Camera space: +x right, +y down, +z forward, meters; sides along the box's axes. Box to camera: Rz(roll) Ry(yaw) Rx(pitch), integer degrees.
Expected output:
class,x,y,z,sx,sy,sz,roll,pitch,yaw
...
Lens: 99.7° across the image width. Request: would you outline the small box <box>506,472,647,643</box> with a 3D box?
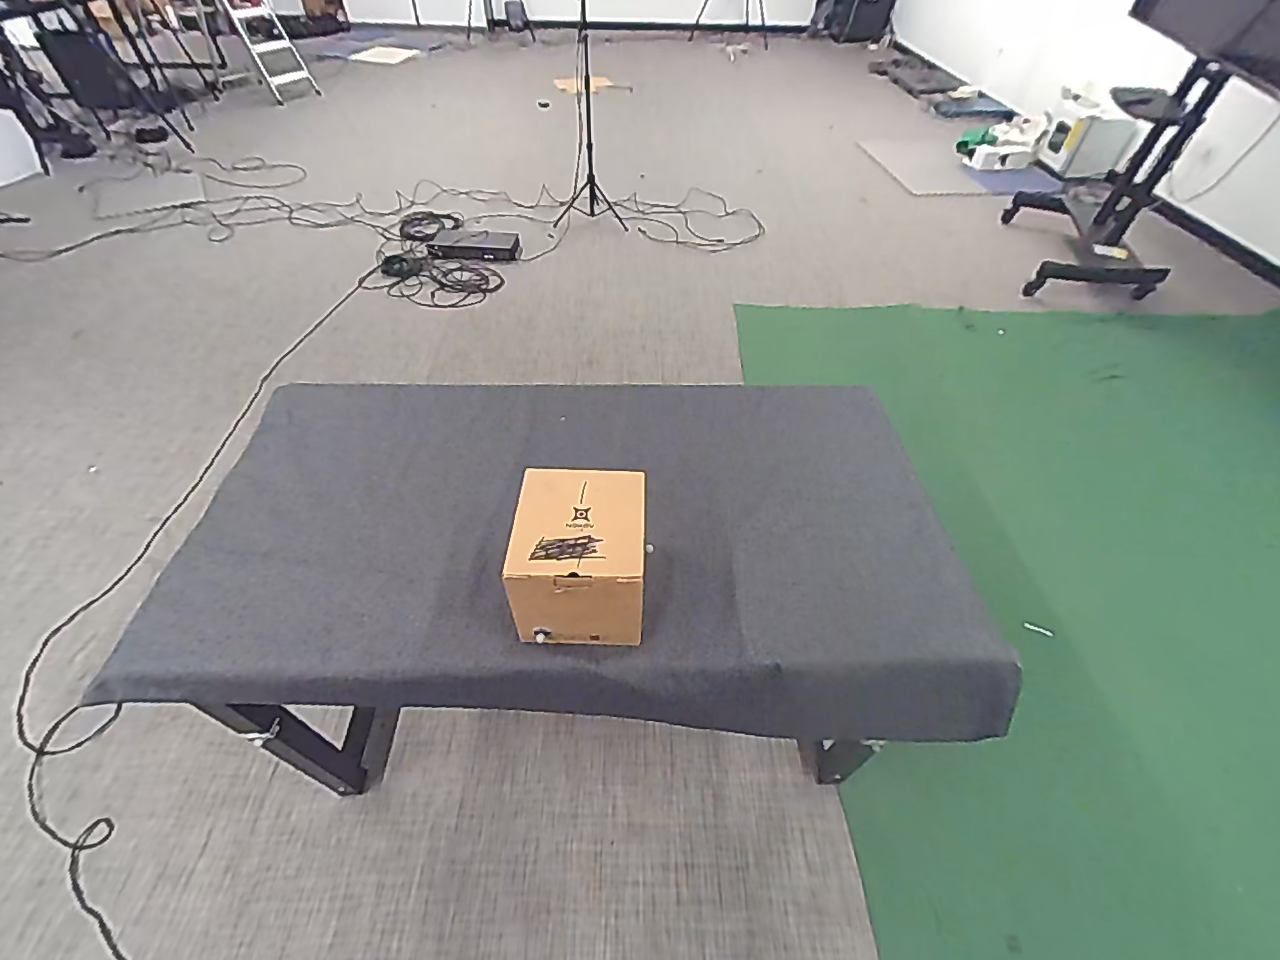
class,x,y,z,sx,sy,sz,roll,pitch,yaw
small box,-0.077,0.111,0.752,0.168,0.176,0.179,3,46,0
